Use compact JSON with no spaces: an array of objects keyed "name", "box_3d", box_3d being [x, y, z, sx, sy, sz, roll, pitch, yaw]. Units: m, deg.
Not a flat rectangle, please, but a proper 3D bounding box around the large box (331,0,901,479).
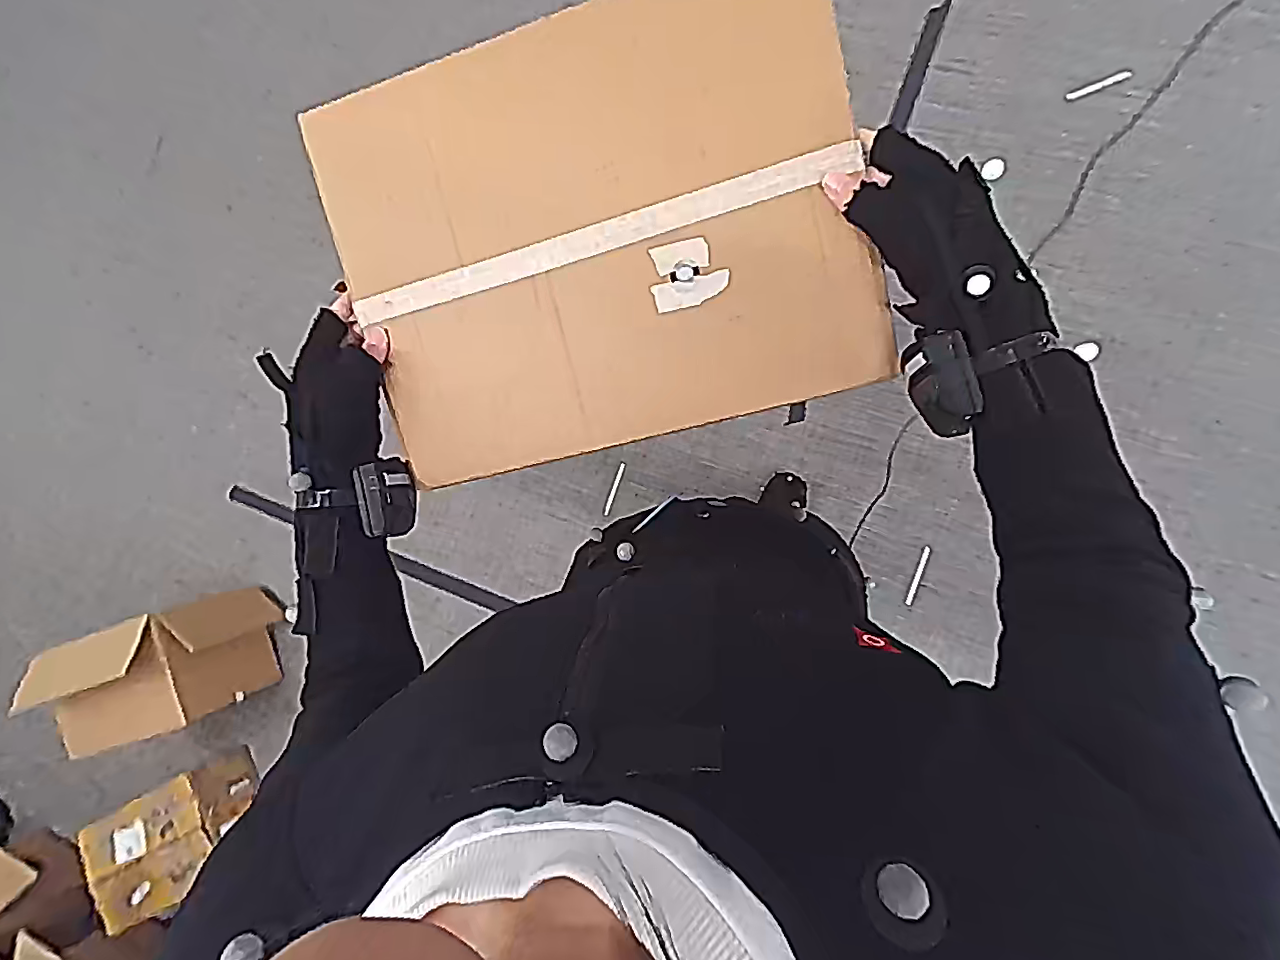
[{"name":"large box","box_3d":[-0.008,-0.216,0.570,0.408,0.320,0.320,-13,99,10]}]
